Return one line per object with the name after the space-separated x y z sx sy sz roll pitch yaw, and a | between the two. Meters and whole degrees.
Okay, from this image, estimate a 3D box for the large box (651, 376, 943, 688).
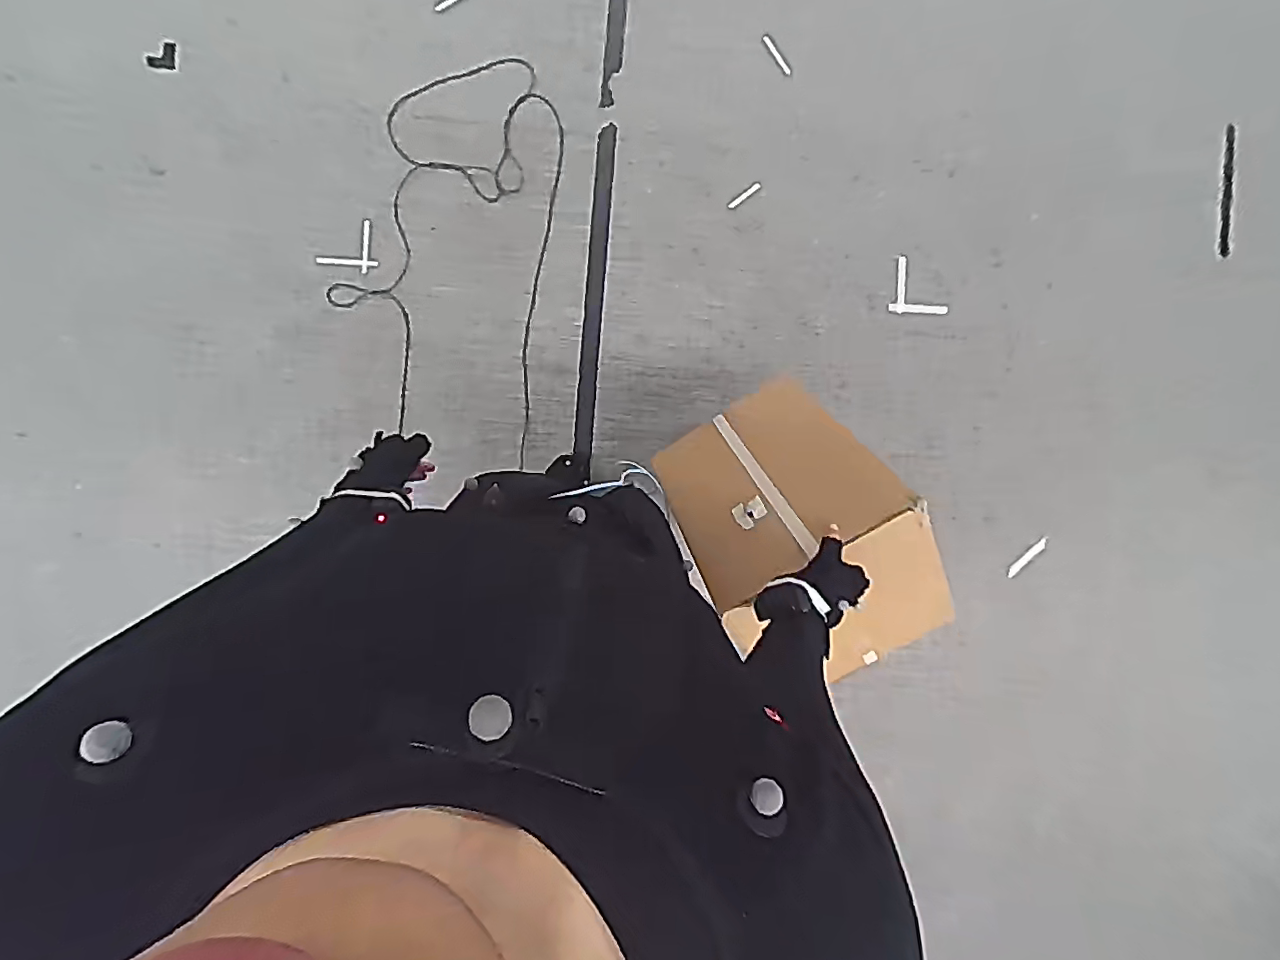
0.268 0.083 0.985 0.320 0.408 0.320 -32 128 8 | large box
